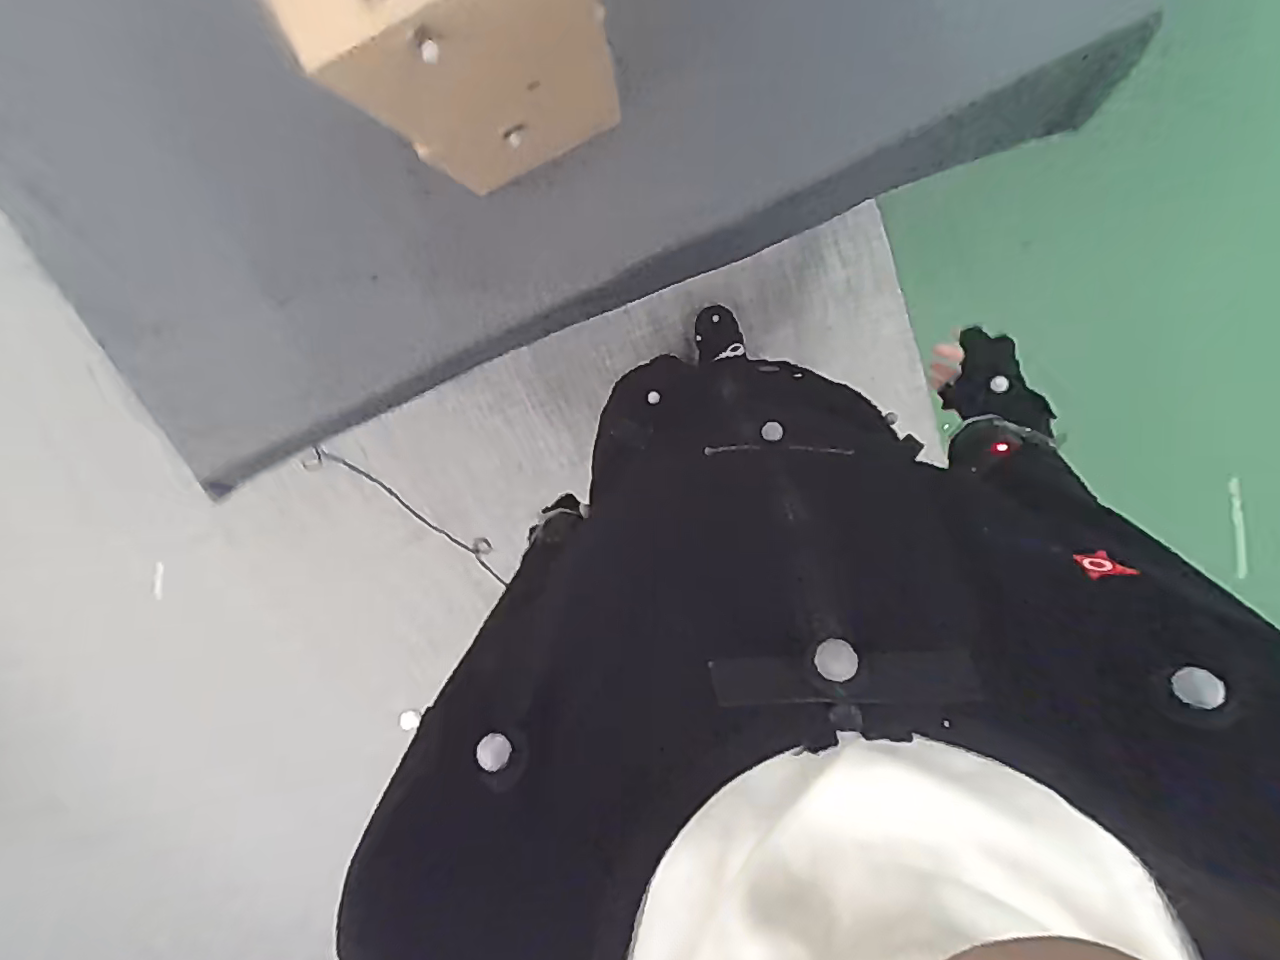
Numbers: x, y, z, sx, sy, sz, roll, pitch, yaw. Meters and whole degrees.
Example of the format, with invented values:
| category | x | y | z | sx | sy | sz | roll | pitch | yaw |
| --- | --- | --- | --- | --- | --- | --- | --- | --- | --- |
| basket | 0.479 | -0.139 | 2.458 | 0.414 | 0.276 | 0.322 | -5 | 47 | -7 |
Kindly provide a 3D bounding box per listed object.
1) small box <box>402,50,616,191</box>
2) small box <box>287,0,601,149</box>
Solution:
| category | x | y | z | sx | sy | sz | roll | pitch | yaw |
| --- | --- | --- | --- | --- | --- | --- | --- | --- | --- |
| small box | -0.135 | -0.399 | 0.502 | 0.179 | 0.176 | 0.168 | -23 | 105 | 9 |
| small box | -0.137 | -0.357 | 0.347 | 0.168 | 0.176 | 0.179 | -25 | 105 | 8 |
